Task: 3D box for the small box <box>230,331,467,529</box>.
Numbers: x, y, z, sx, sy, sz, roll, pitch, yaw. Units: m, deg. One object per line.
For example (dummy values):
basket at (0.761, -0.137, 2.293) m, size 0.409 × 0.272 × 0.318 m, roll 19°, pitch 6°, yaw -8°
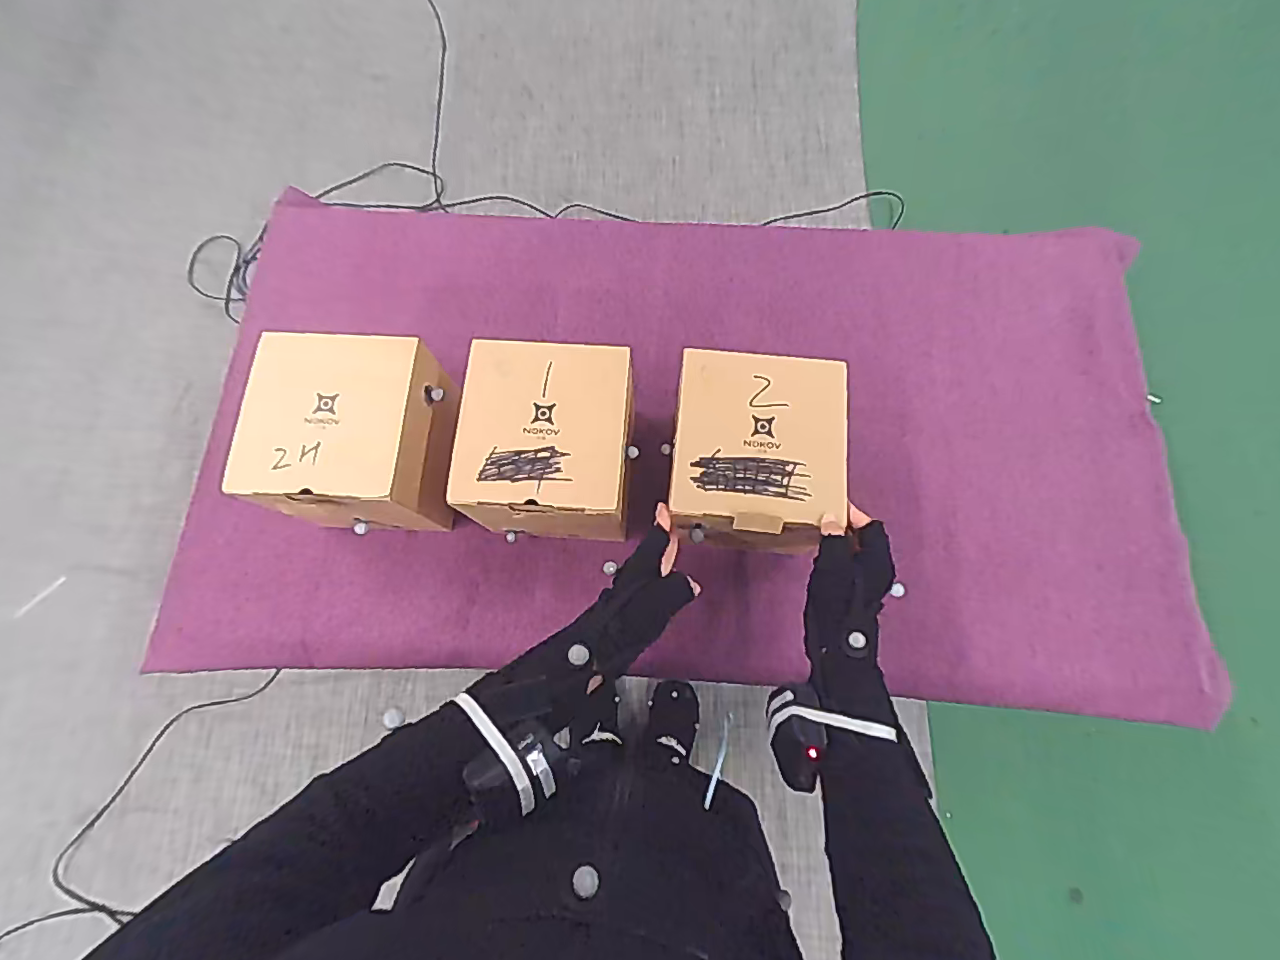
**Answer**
small box at (-0.310, -0.048, 0.620) m, size 0.168 × 0.176 × 0.179 m, roll 2°, pitch 75°, yaw 2°
